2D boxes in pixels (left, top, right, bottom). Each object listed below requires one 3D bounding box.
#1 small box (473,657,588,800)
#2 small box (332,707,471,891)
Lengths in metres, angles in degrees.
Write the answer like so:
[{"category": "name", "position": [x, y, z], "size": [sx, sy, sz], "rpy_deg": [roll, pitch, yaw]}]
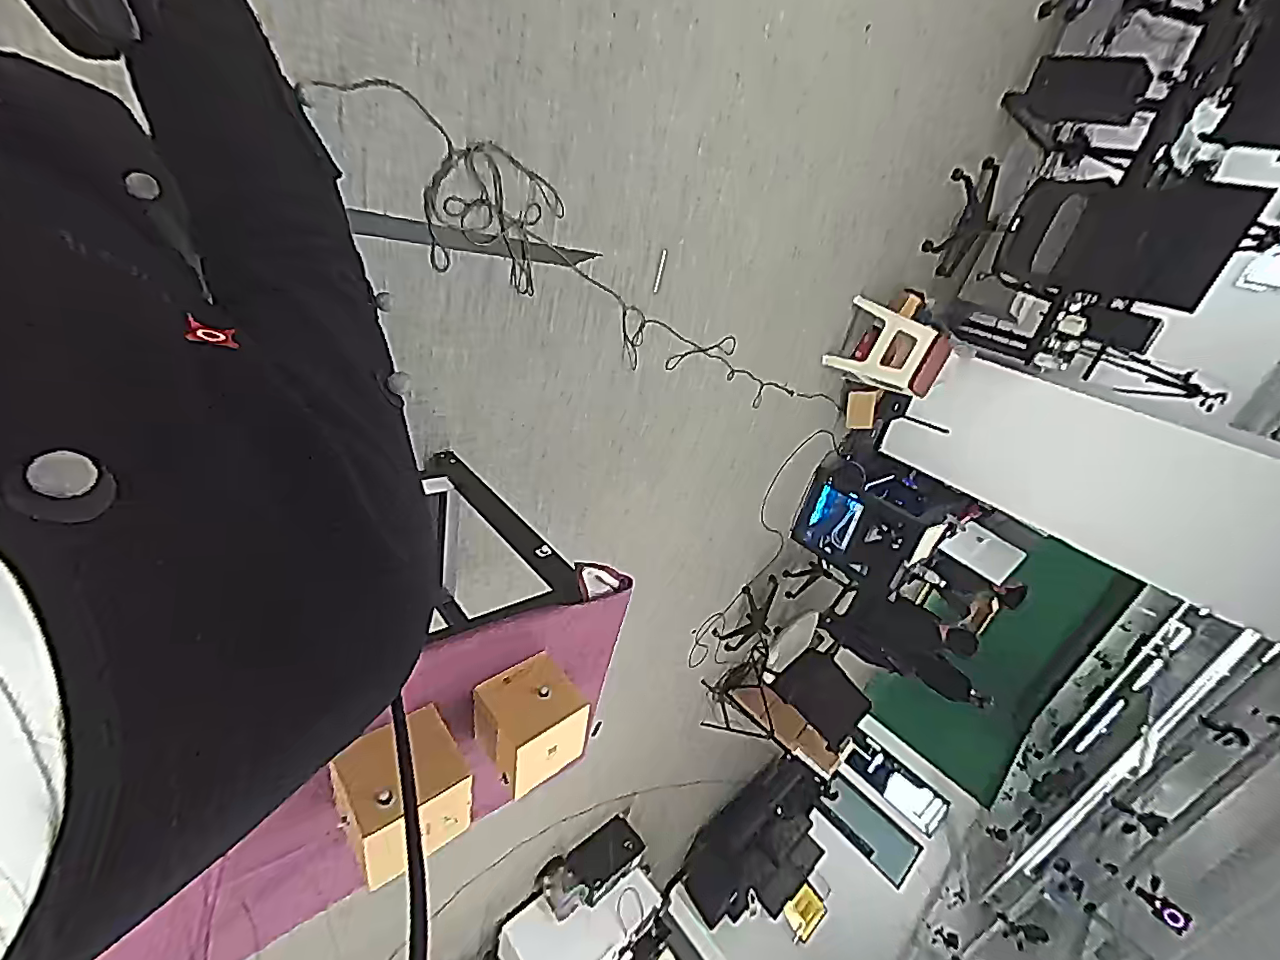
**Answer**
[{"category": "small box", "position": [-0.227, 0.489, 1.099], "size": [0.168, 0.176, 0.179], "rpy_deg": [-19, 132, -38]}, {"category": "small box", "position": [-0.410, 0.533, 0.925], "size": [0.179, 0.176, 0.168], "rpy_deg": [-16, 130, -40]}]
